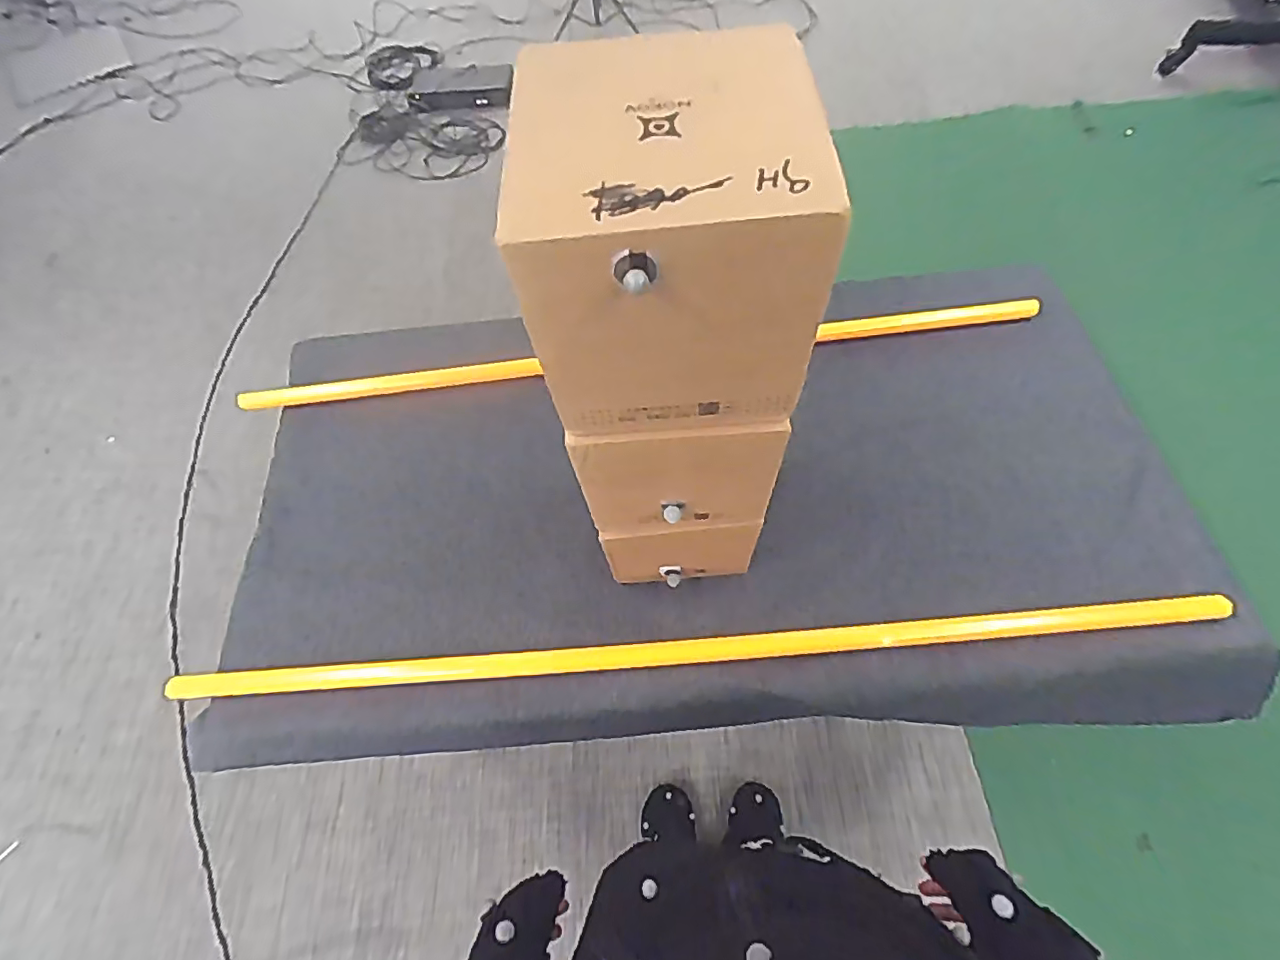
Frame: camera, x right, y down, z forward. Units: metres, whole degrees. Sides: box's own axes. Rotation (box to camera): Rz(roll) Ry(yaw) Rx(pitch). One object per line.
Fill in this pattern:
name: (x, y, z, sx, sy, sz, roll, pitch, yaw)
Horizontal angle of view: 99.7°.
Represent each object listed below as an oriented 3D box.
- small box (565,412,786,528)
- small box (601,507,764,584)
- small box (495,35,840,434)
small box: (0.030, -0.069, 0.504, 0.168, 0.176, 0.179, -4, 63, 4)
small box: (0.042, 0.011, 0.647, 0.168, 0.176, 0.179, -7, 63, 2)
small box: (0.017, -0.151, 0.363, 0.168, 0.176, 0.179, -4, 61, 4)
